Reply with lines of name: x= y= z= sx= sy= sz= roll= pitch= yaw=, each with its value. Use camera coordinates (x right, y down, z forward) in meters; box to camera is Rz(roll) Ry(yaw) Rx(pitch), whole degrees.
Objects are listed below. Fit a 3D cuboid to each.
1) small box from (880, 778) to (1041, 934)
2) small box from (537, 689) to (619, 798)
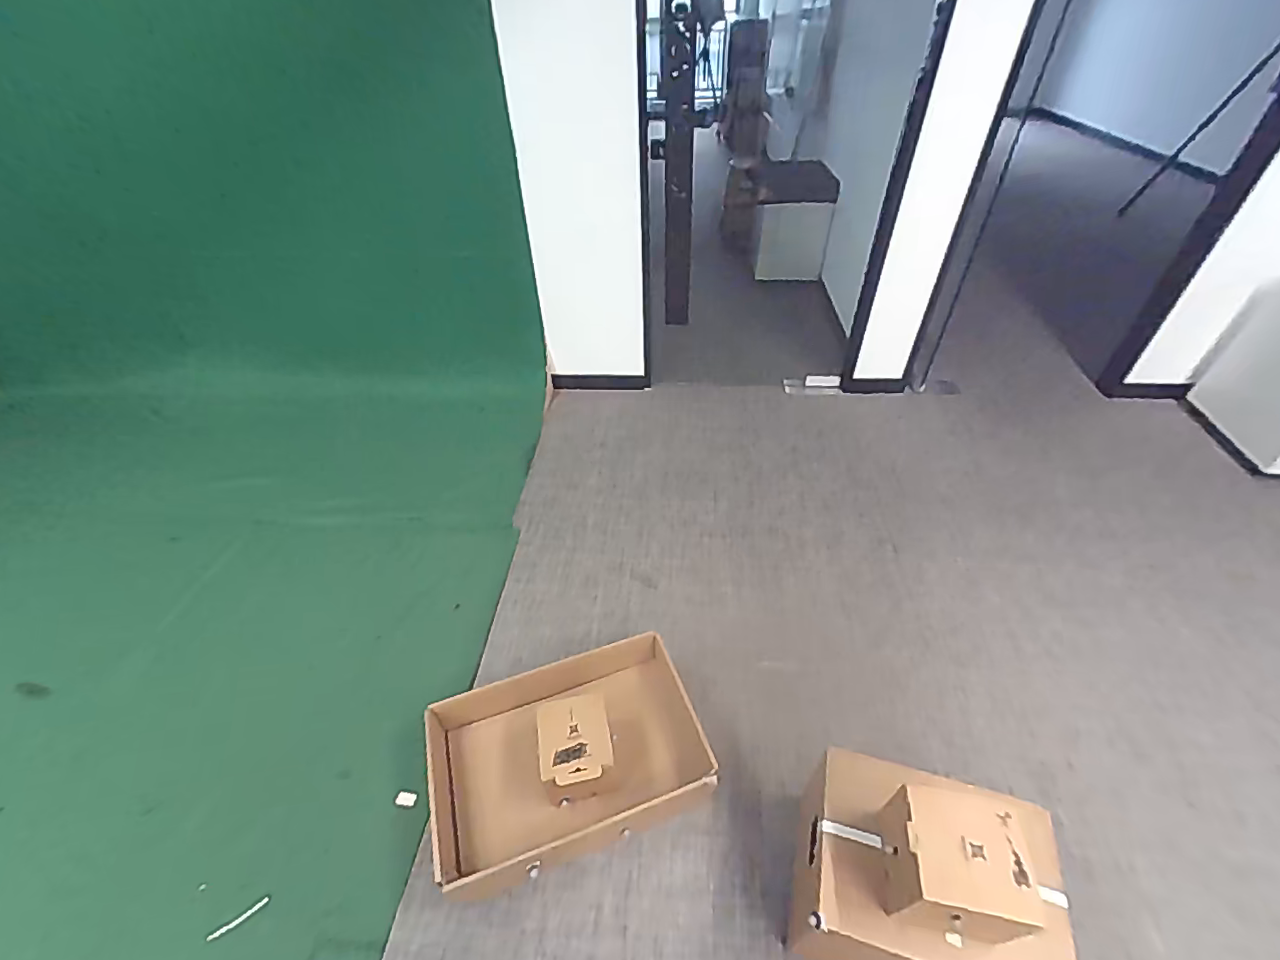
small box: x=0.513 y=0.628 z=0.901 sx=0.179 sy=0.176 sz=0.168 roll=6 pitch=44 yaw=10
small box: x=-0.148 y=0.639 z=1.301 sx=0.168 sy=0.176 sz=0.179 roll=-10 pitch=42 yaw=-7
